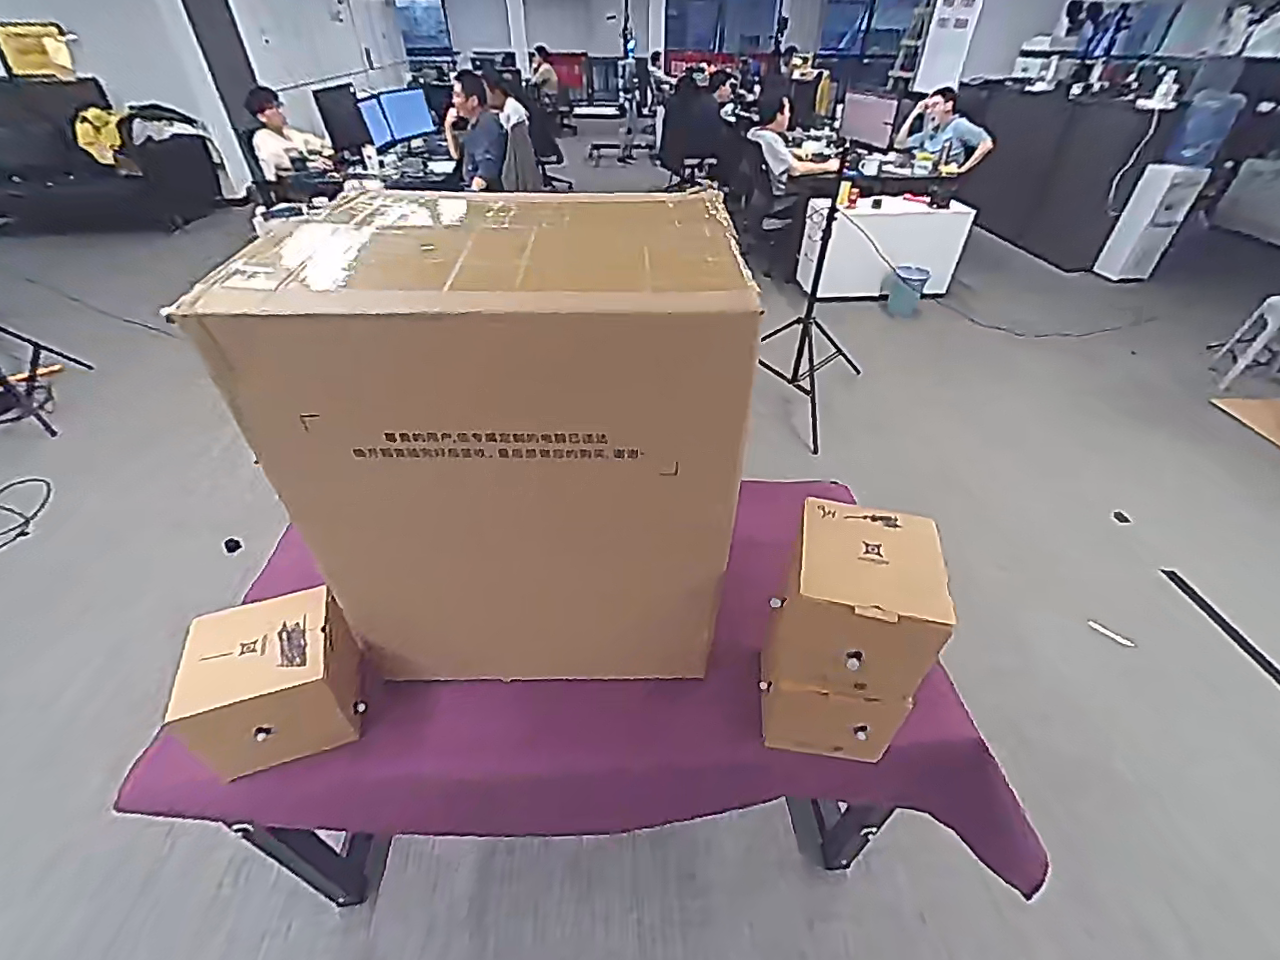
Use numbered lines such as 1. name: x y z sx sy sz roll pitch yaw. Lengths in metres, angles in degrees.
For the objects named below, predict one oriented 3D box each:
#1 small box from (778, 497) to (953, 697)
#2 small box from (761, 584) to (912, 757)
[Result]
1. small box: 0.280 0.151 0.703 0.168 0.176 0.179 10 41 12
2. small box: 0.276 0.282 0.802 0.168 0.176 0.179 6 38 6
